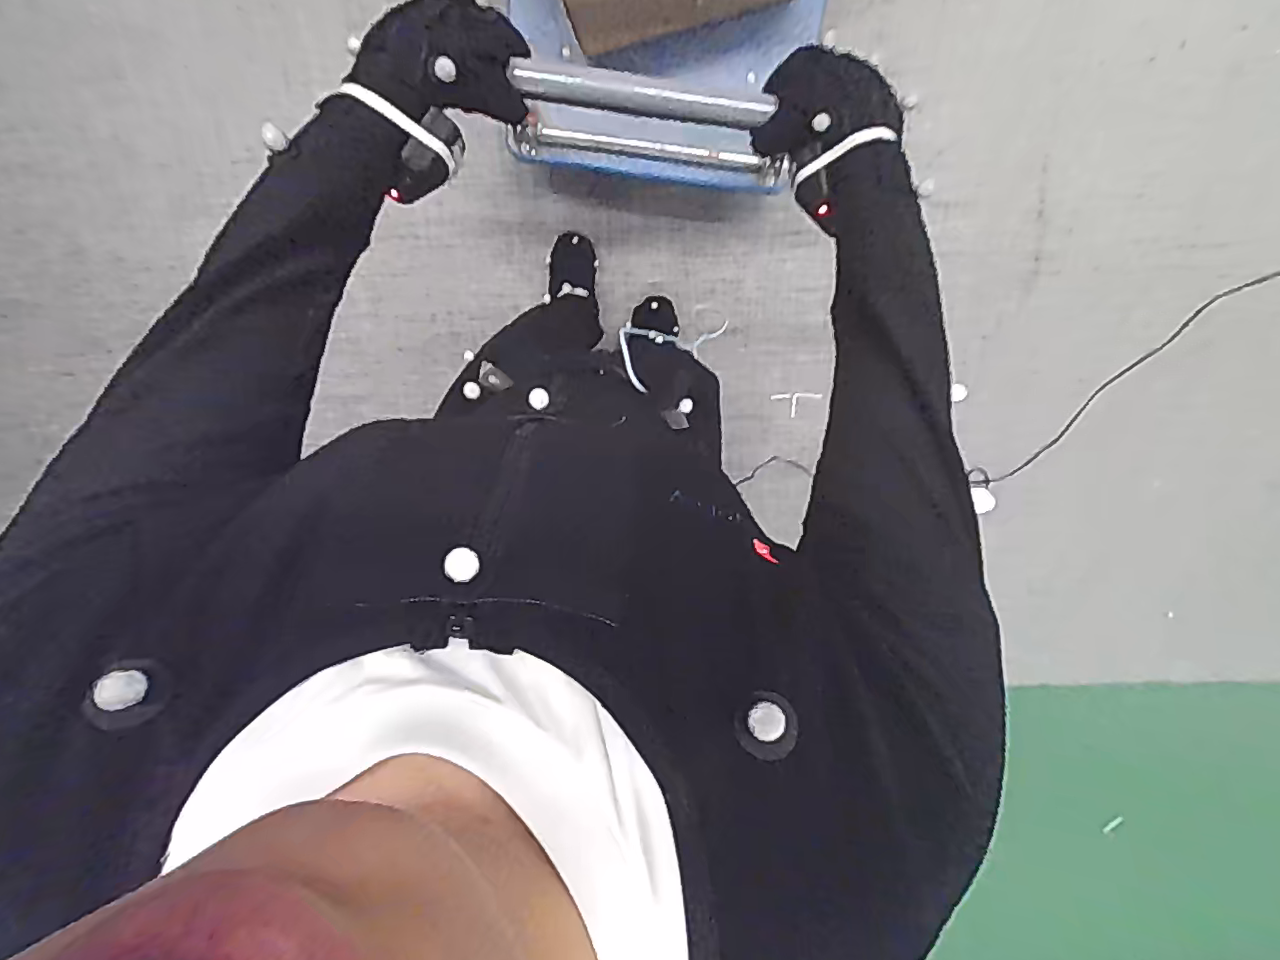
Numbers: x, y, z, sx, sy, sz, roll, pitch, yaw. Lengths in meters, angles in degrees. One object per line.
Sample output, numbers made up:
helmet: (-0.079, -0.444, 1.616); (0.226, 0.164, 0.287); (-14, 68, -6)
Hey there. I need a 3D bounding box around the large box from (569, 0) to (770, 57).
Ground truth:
large box: (0.059, -0.916, 0.810); (0.408, 0.320, 0.320); (-12, 111, 7)
